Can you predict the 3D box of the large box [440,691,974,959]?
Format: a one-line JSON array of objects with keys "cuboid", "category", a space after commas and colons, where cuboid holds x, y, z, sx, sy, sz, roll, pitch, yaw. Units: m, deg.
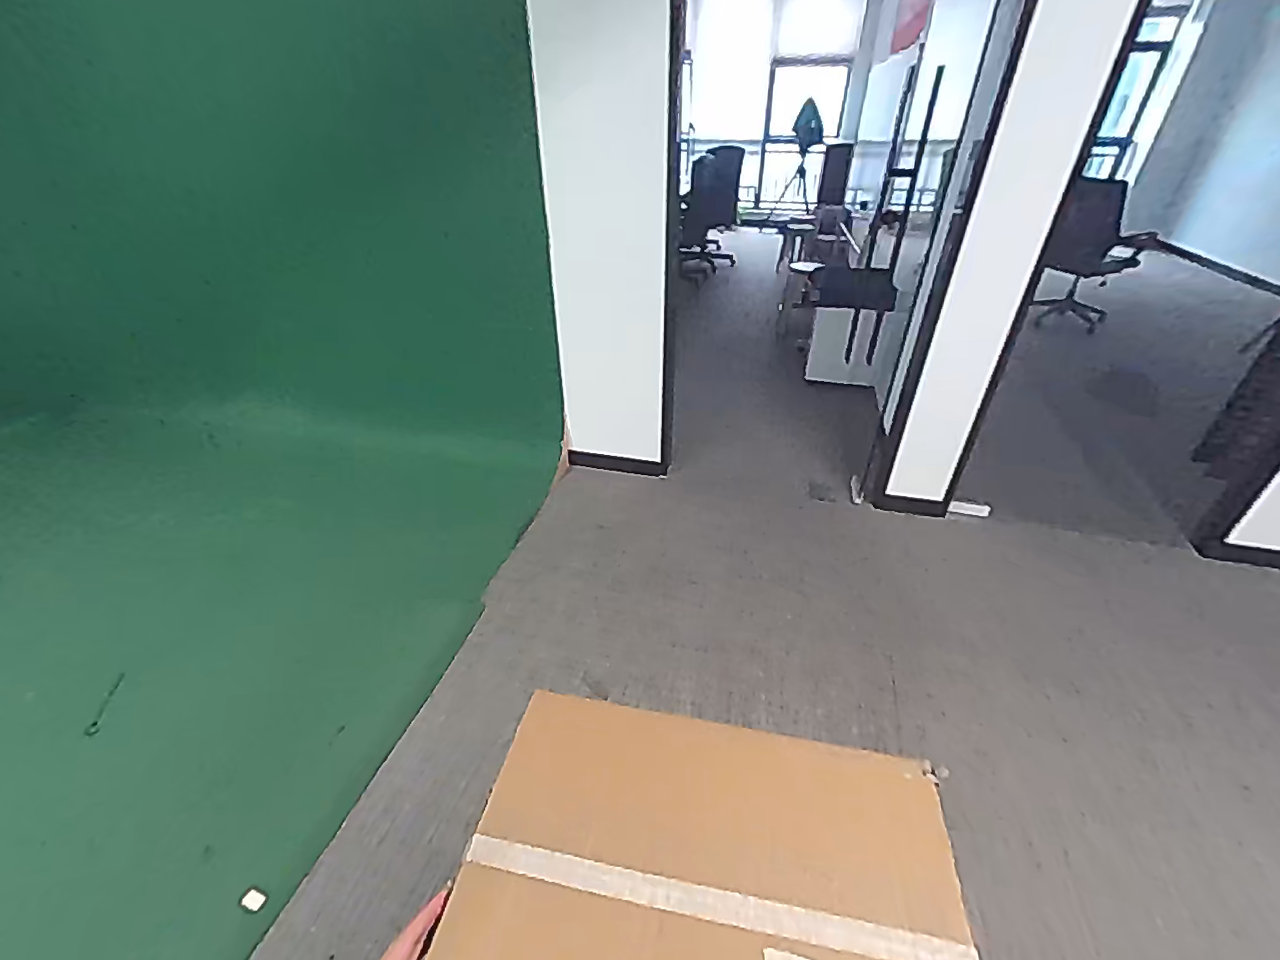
[{"cuboid": [0.055, 0.458, 0.525, 0.408, 0.320, 0.320, 7, 36, 8], "category": "large box"}]
